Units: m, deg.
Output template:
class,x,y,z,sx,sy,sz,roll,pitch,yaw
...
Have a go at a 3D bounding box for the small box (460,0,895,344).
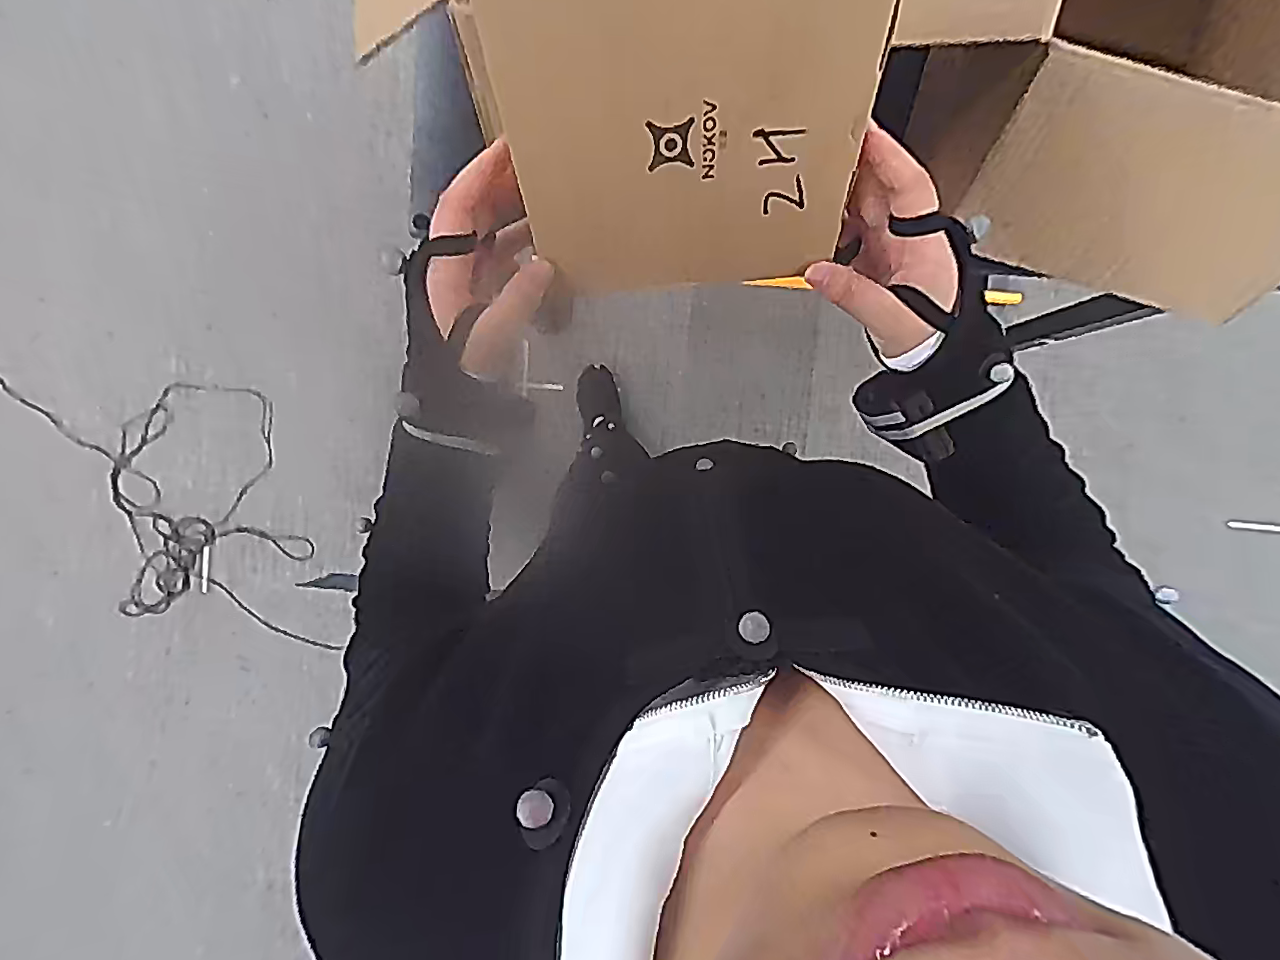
class,x,y,z,sx,sy,sz,roll,pitch,yaw
small box,0.015,-0.203,0.322,0.179,0.168,0.176,-3,58,2
